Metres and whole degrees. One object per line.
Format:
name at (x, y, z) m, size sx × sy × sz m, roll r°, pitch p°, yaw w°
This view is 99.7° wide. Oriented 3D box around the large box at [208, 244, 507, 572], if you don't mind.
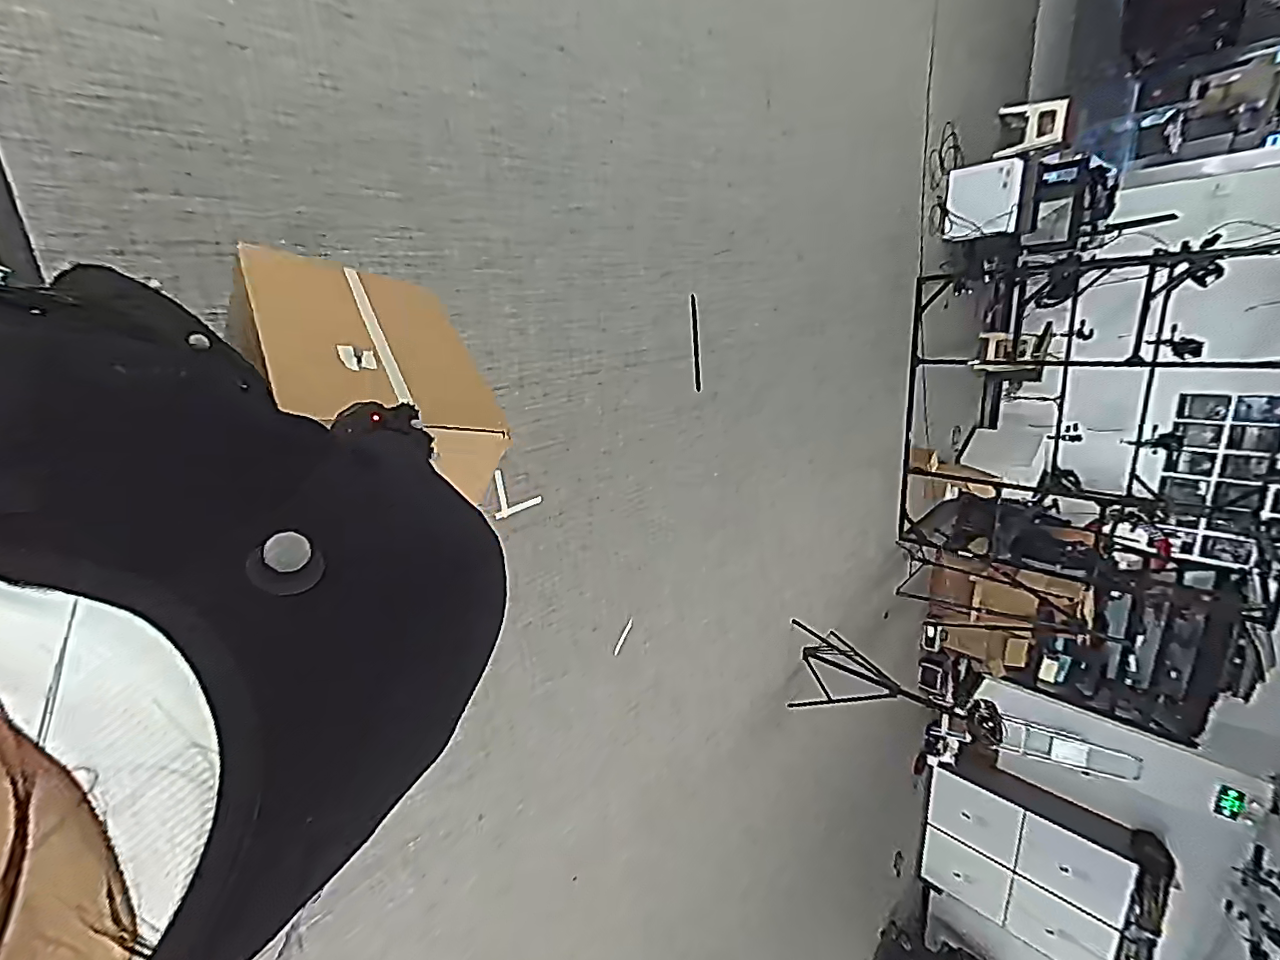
large box at (-0.489, -0.111, 0.906) m, size 0.320 × 0.408 × 0.320 m, roll -1°, pitch 139°, yaw -45°
